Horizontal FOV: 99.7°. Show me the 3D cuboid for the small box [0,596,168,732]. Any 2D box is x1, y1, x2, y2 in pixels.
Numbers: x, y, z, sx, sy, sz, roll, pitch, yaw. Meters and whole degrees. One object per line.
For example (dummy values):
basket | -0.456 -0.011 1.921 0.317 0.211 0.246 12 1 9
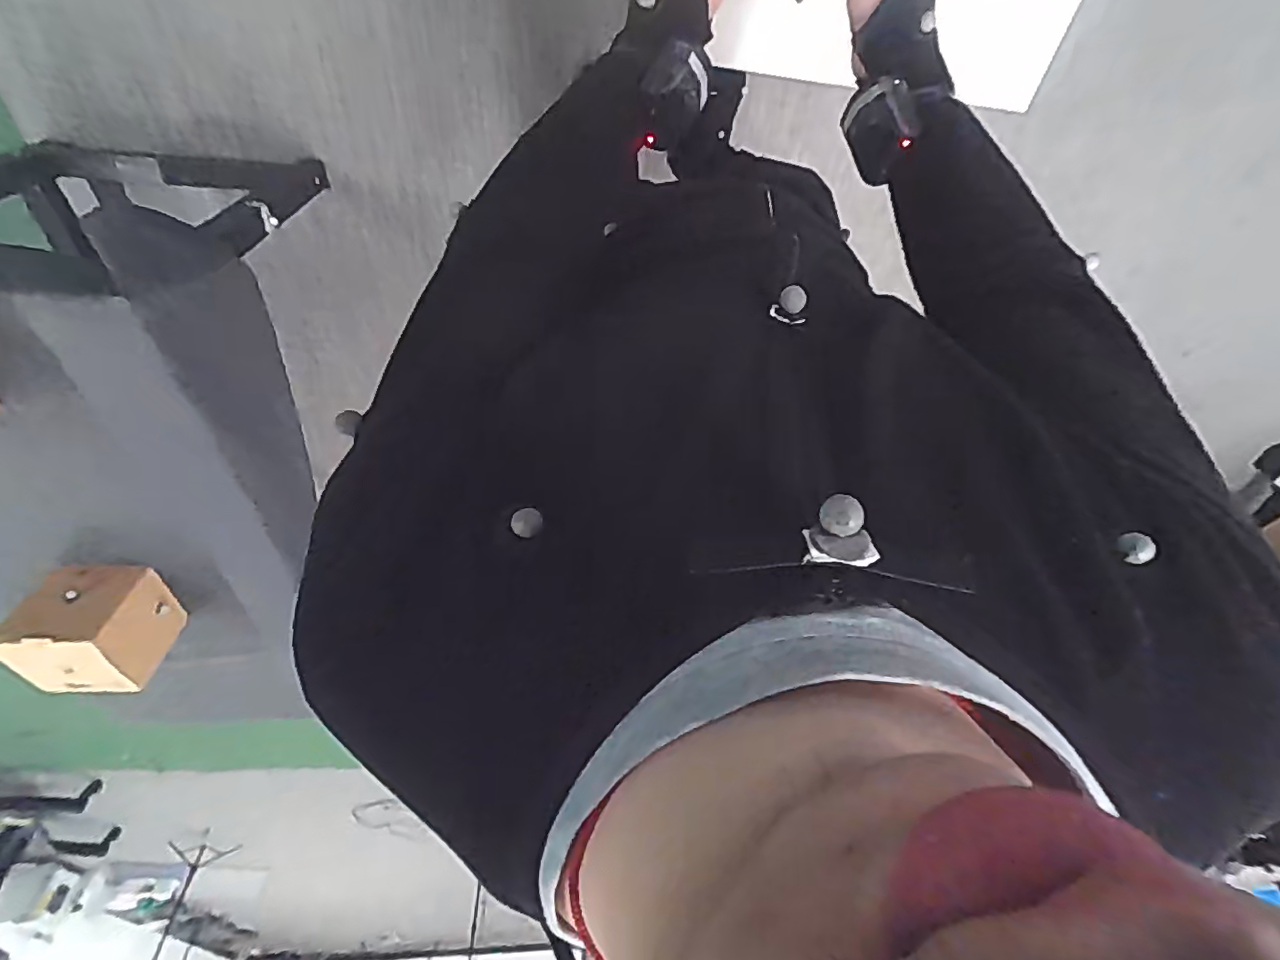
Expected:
small box | -1.000 0.319 0.956 0.168 0.176 0.179 1 131 -9
